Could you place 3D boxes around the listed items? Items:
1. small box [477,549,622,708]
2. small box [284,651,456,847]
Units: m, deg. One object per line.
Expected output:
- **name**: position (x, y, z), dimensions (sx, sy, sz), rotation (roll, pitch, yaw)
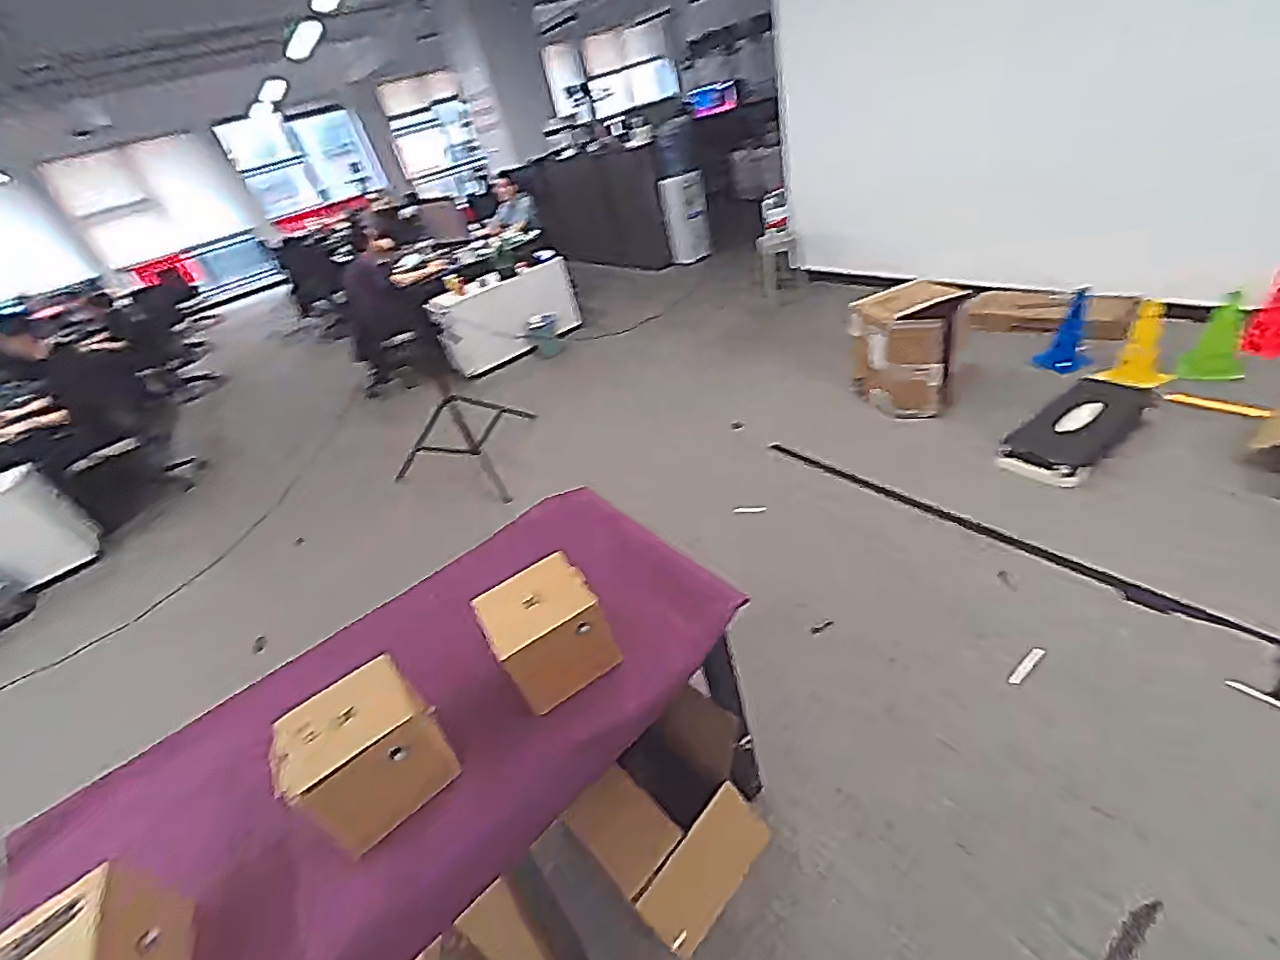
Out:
- **small box**: position (-0.156, 0.262, 0.957), dimensions (0.179, 0.176, 0.168), rotation (-29, 37, -18)
- **small box**: position (-0.413, 0.416, 0.847), dimensions (0.179, 0.176, 0.168), rotation (-34, 36, -24)
